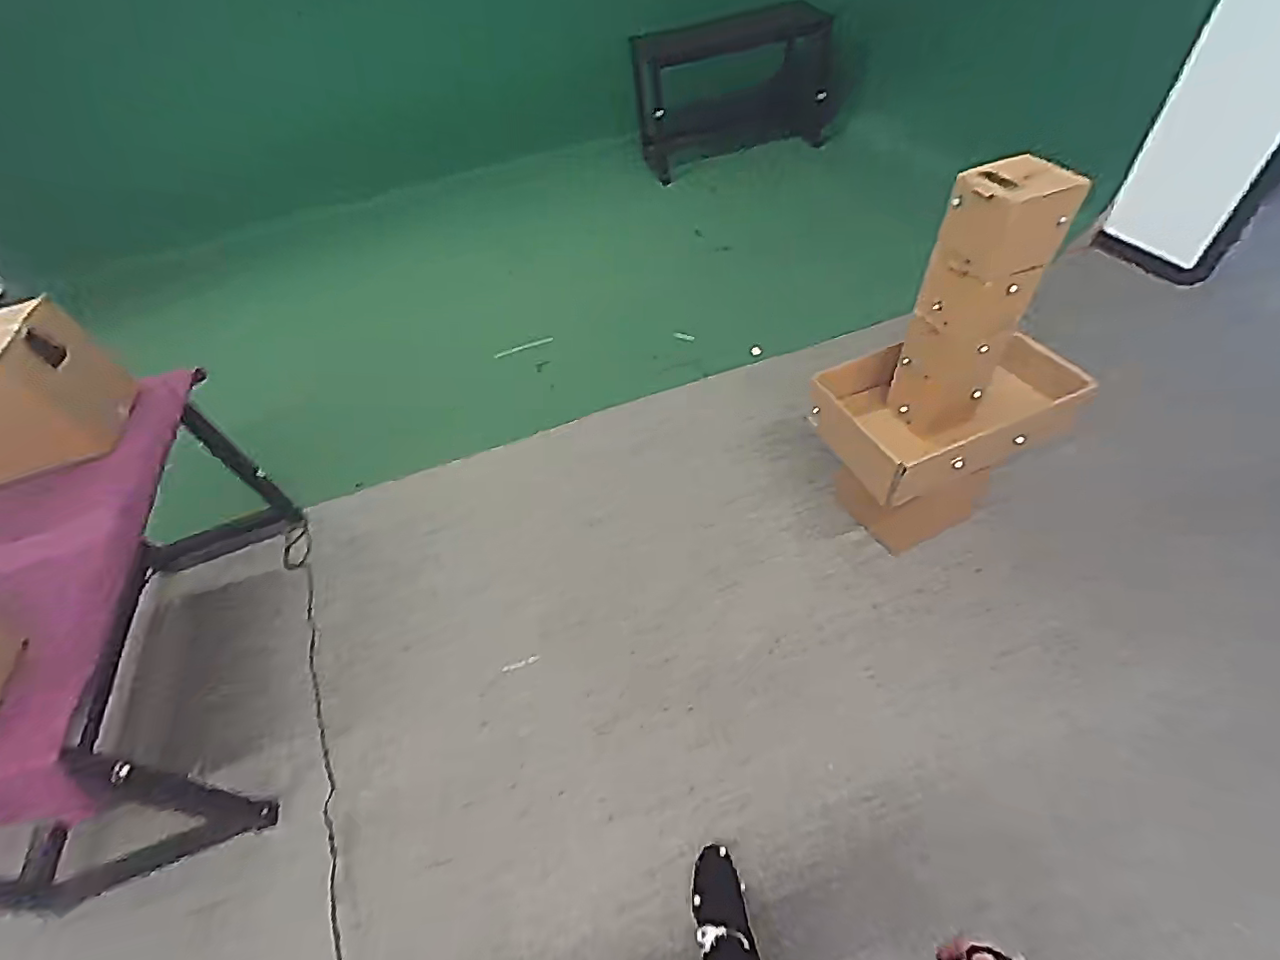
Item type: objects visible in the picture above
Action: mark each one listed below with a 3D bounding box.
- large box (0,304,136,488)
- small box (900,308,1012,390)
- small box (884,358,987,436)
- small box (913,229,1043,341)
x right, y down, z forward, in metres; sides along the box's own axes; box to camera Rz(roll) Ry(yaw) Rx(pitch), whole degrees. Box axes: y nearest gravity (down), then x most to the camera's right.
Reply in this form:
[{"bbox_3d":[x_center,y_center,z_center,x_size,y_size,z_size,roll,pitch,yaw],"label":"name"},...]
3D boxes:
[{"bbox_3d":[-1.680,-0.198,1.407,0.408,0.320,0.320,-19,51,-7],"label":"large box"},{"bbox_3d":[0.811,-0.361,1.414,0.179,0.176,0.168,-21,50,-12],"label":"small box"},{"bbox_3d":[0.828,-0.255,1.537,0.179,0.176,0.168,-20,49,-9],"label":"small box"},{"bbox_3d":[0.791,-0.462,1.288,0.179,0.176,0.168,-23,51,-11],"label":"small box"}]
